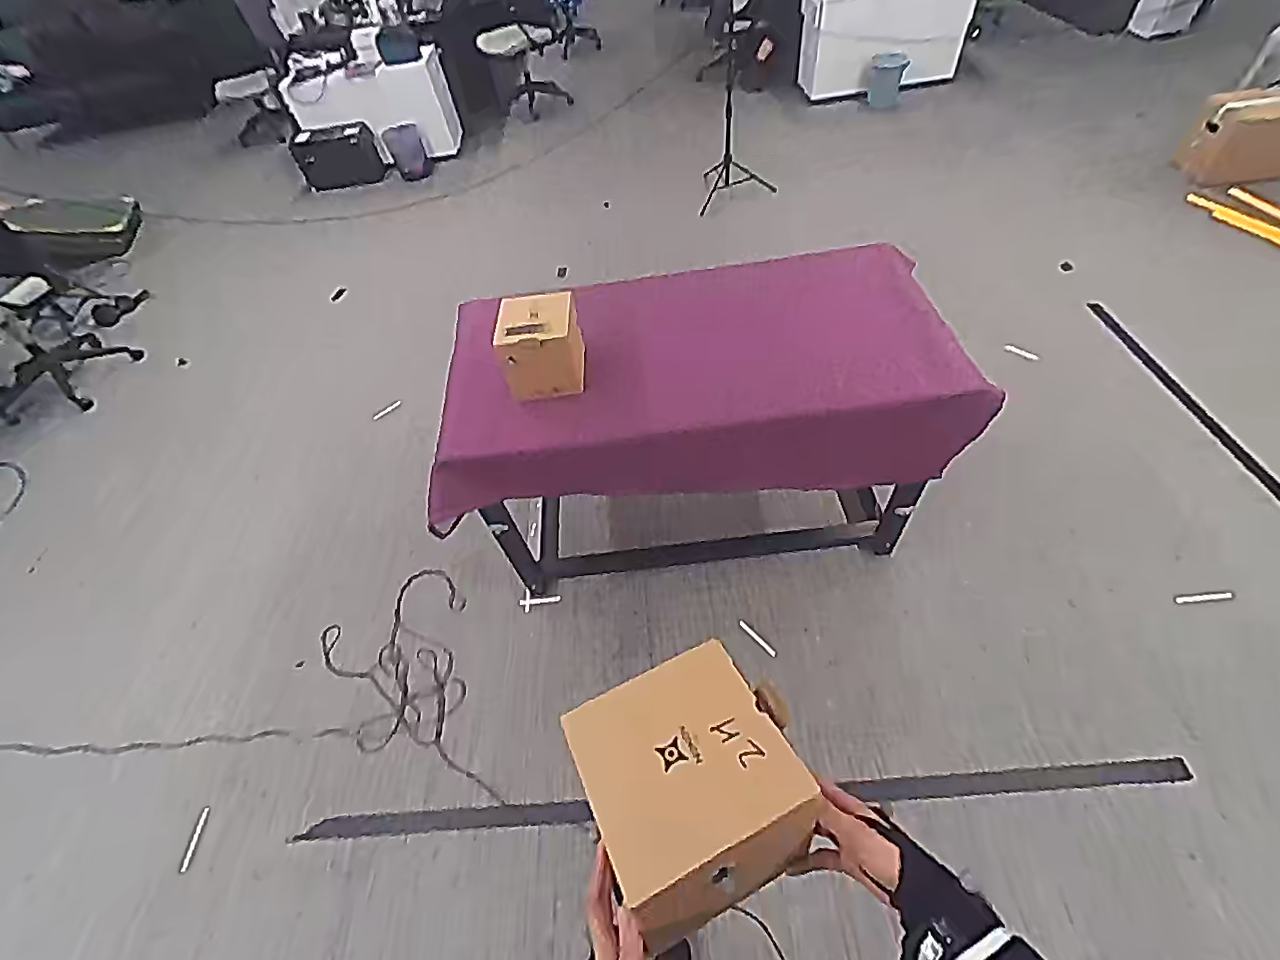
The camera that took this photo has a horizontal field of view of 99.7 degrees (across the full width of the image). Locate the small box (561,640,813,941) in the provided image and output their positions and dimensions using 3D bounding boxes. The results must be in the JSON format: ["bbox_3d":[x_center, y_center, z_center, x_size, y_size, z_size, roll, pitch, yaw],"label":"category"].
[{"bbox_3d":[0.045,0.299,0.527,0.179,0.176,0.168,-21,41,-15],"label":"small box"}]
